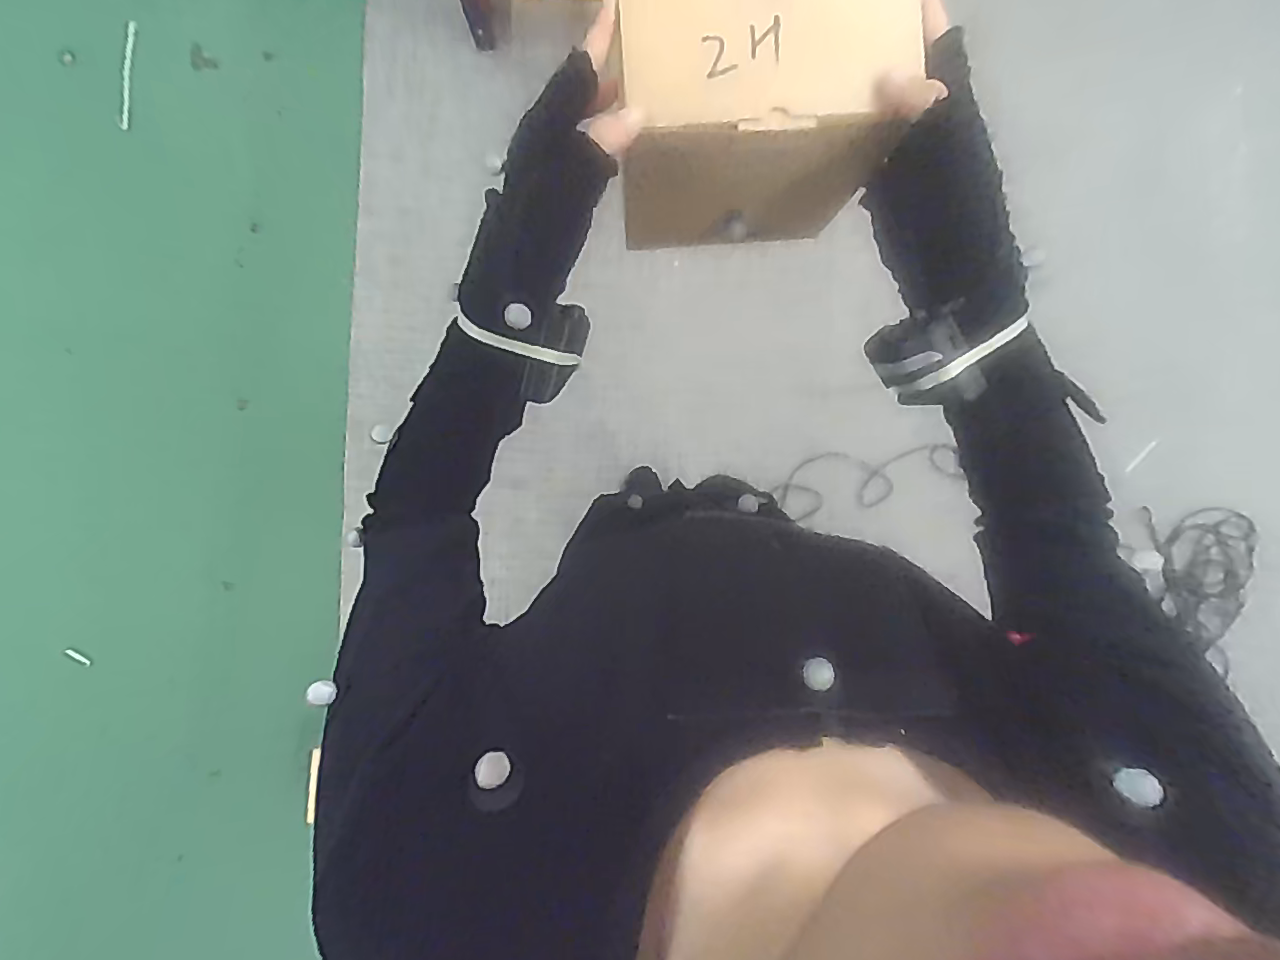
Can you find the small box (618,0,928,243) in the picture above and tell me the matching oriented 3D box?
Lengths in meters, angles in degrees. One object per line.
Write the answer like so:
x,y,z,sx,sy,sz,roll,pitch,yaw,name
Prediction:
0.070,-0.290,0.376,0.168,0.176,0.179,-4,91,-1,small box
